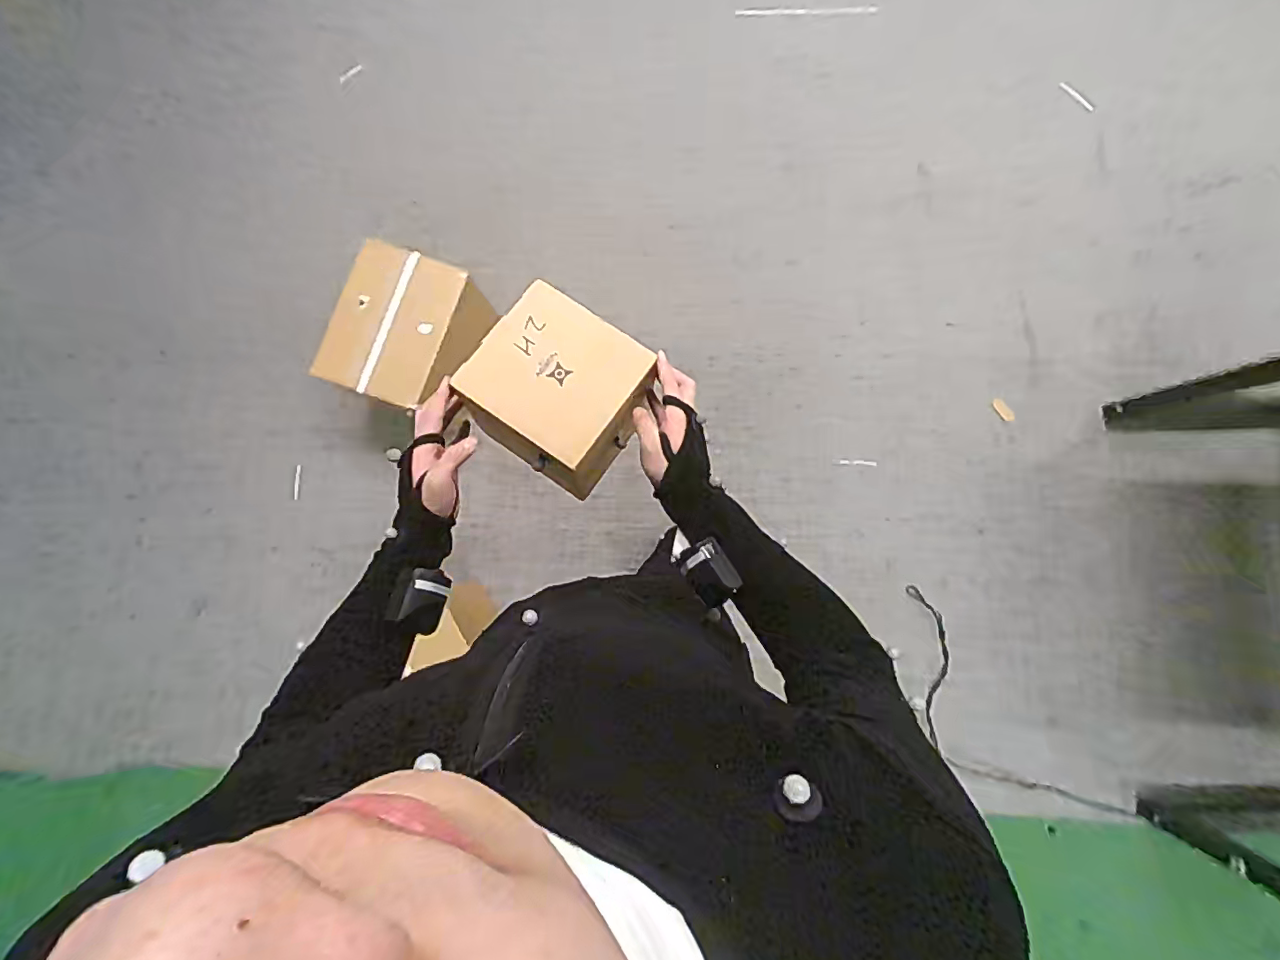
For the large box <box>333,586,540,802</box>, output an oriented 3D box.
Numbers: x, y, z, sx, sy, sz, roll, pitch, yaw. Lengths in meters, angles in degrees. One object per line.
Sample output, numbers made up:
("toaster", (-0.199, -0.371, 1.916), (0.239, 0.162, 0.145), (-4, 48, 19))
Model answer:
("large box", (-0.530, 0.550, 1.478), (0.320, 0.320, 0.408), (-32, 85, -1))
